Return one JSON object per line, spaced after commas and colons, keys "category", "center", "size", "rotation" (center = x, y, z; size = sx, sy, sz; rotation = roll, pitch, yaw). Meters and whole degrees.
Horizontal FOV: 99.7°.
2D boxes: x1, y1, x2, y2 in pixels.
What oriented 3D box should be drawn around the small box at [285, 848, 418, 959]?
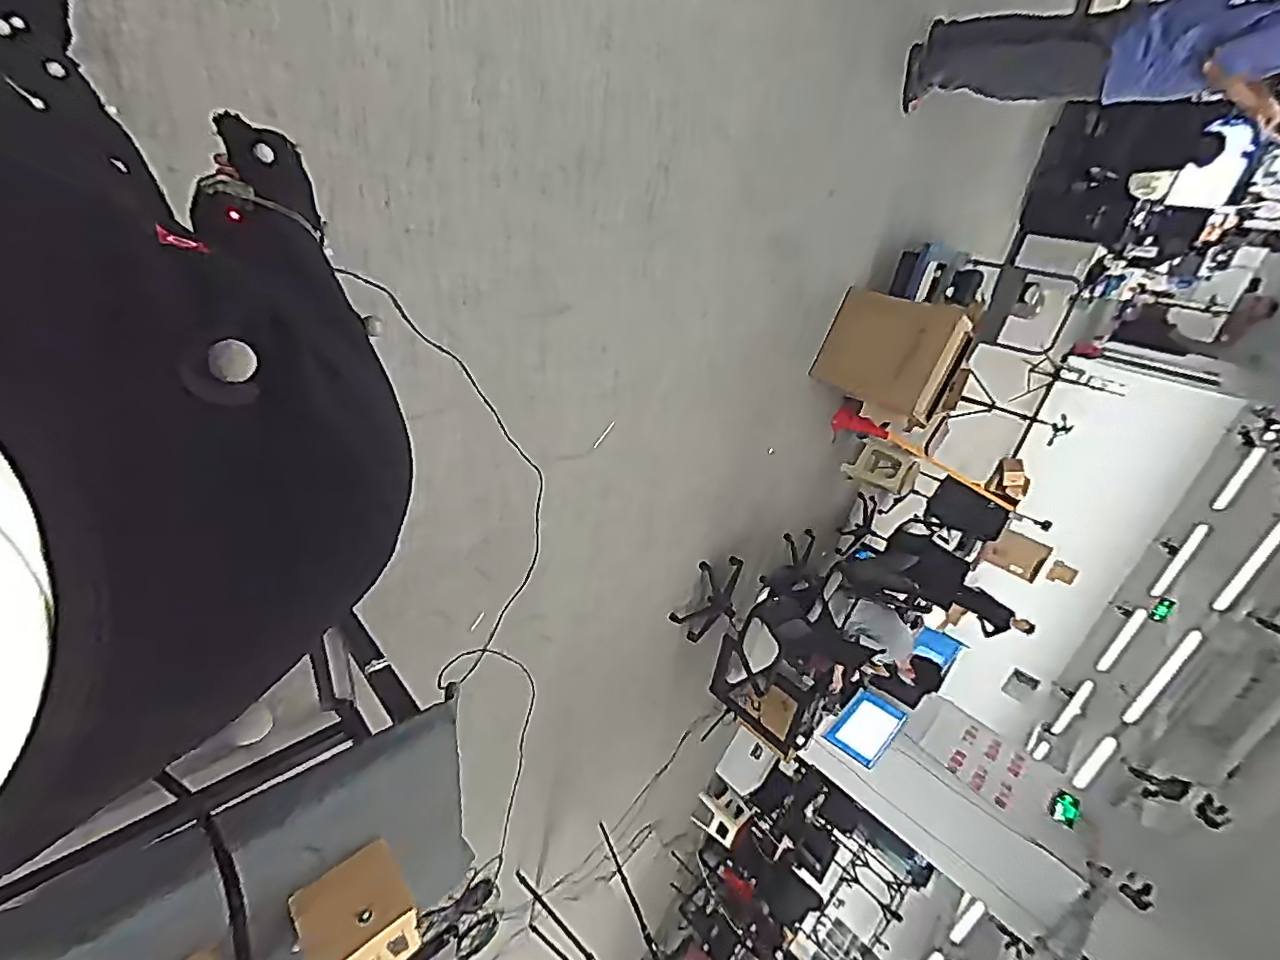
{"category": "small box", "center": [-0.564, 0.882, 1.064], "size": [0.179, 0.176, 0.168], "rotation": [-20, 129, -40]}
